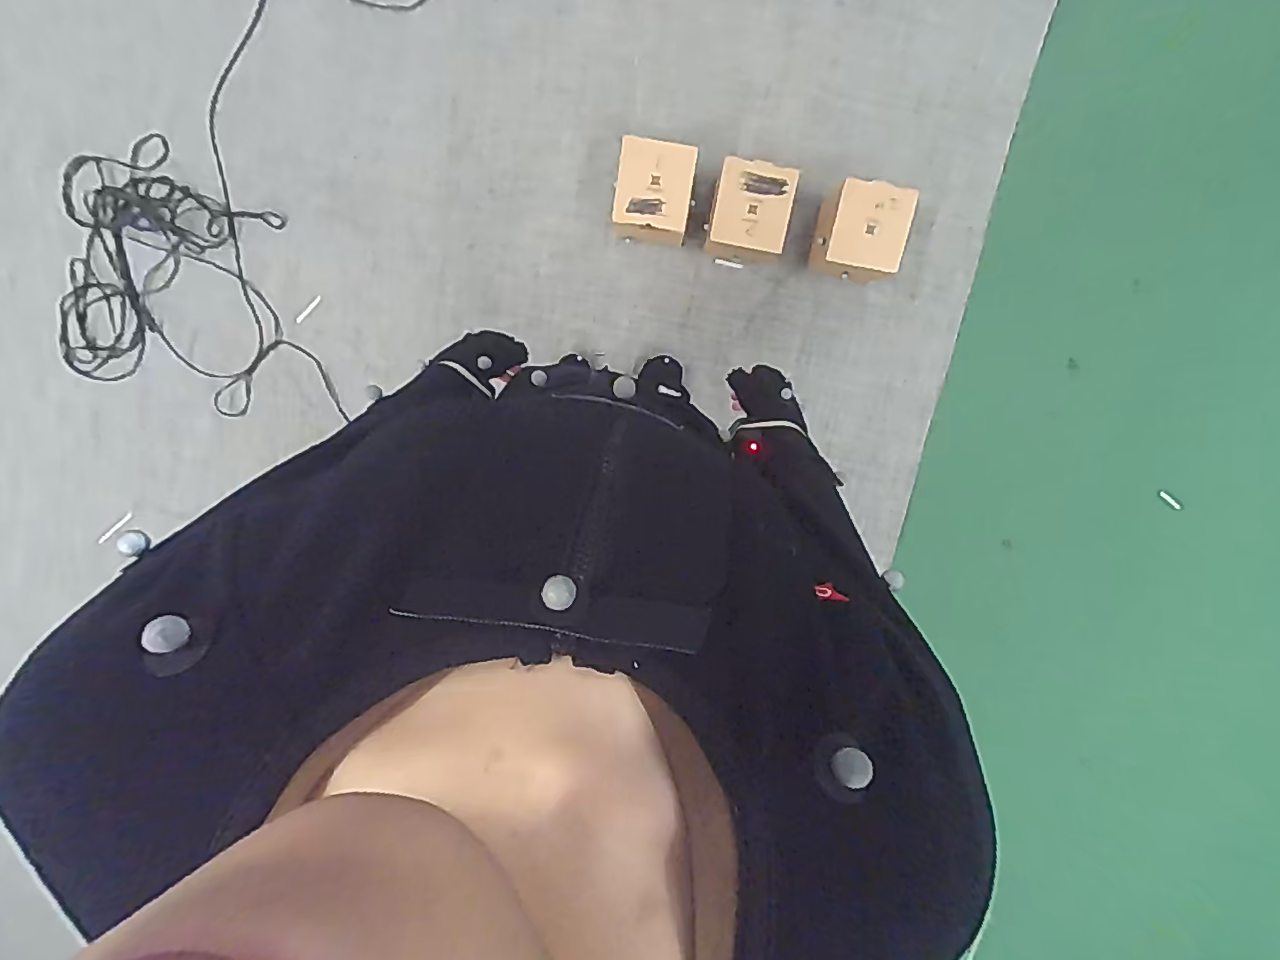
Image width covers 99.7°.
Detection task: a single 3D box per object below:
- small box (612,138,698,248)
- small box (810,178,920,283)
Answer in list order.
[{"bbox_3d":[0.036,-0.650,1.247,0.168,0.176,0.179,9,102,0],"label":"small box"},{"bbox_3d":[0.509,-0.566,1.253,0.168,0.176,0.179,10,103,-2],"label":"small box"}]
